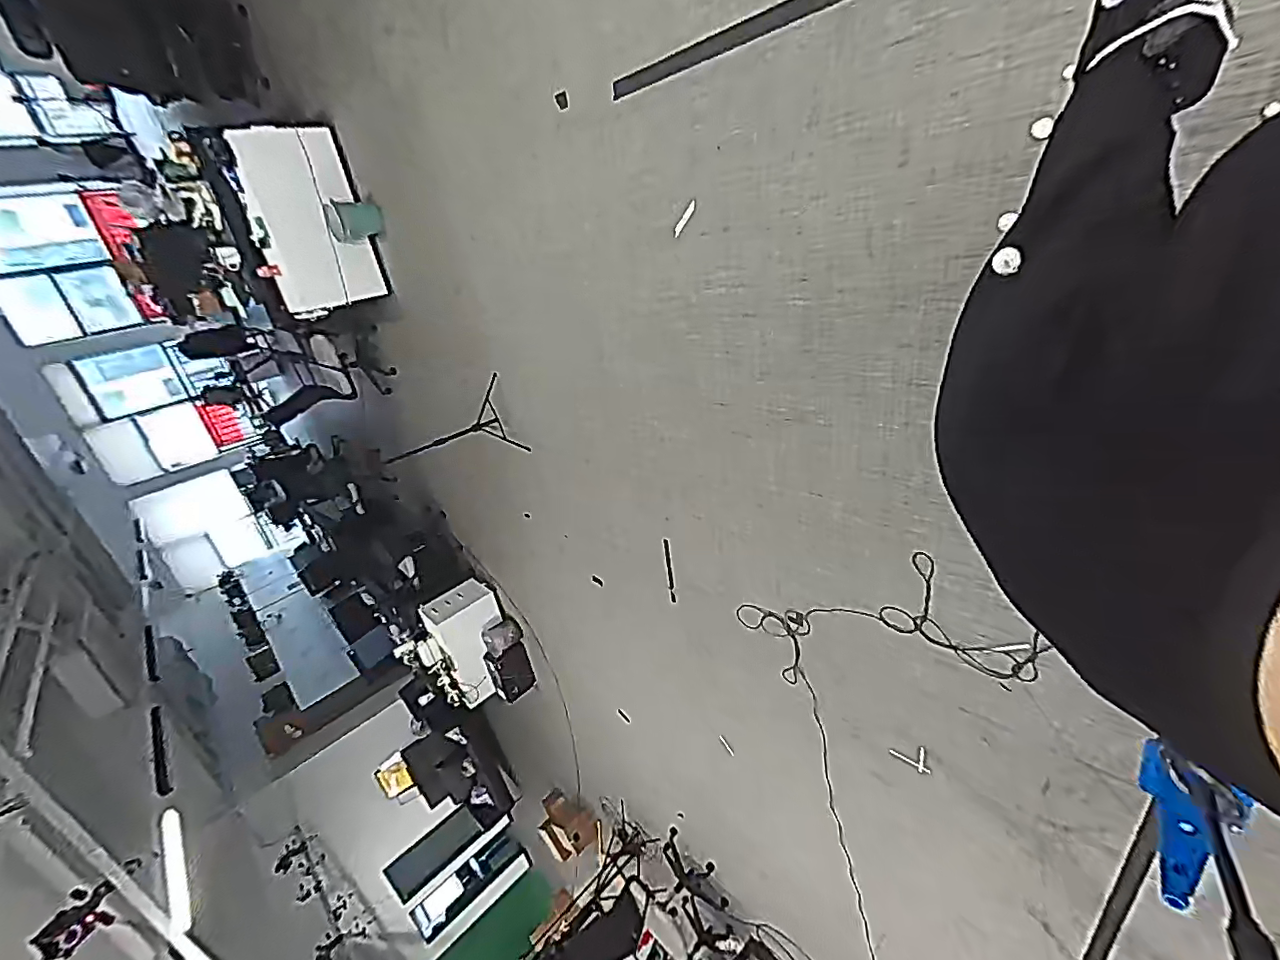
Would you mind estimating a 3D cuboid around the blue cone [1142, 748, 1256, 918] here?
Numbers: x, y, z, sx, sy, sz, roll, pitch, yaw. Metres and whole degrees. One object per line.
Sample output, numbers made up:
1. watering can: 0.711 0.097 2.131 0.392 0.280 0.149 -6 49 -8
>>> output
1. blue cone: 1.295 0.845 1.274 0.192 0.380 0.193 13 124 45
